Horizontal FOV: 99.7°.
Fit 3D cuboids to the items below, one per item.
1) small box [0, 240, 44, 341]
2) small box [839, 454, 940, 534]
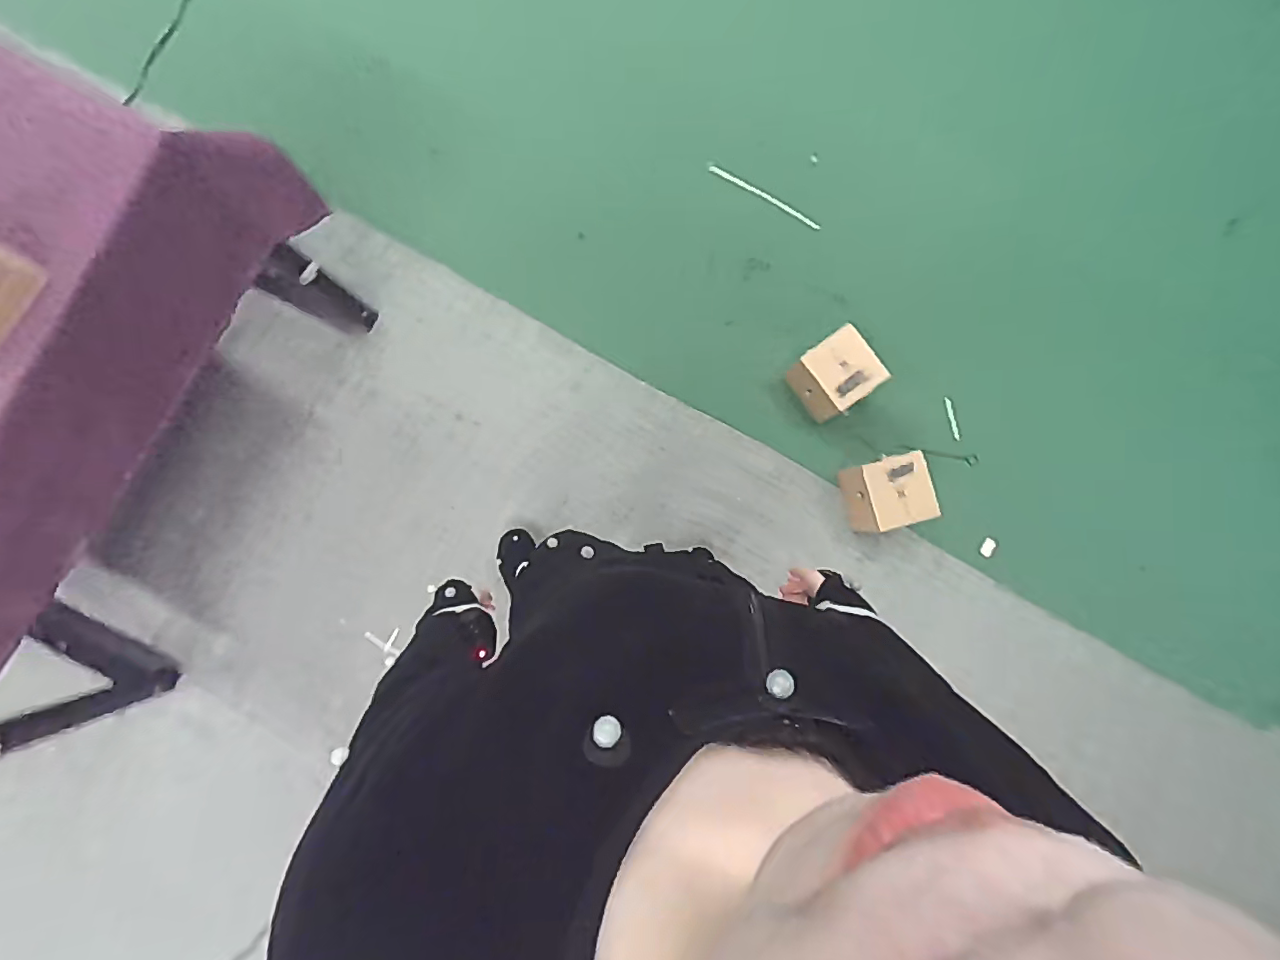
[{"bbox_3d":[-0.981,-0.279,0.717,0.168,0.176,0.179,34,86,2],"label":"small box"},{"bbox_3d":[0.655,0.040,1.442,0.168,0.176,0.179,-14,87,-2],"label":"small box"}]
